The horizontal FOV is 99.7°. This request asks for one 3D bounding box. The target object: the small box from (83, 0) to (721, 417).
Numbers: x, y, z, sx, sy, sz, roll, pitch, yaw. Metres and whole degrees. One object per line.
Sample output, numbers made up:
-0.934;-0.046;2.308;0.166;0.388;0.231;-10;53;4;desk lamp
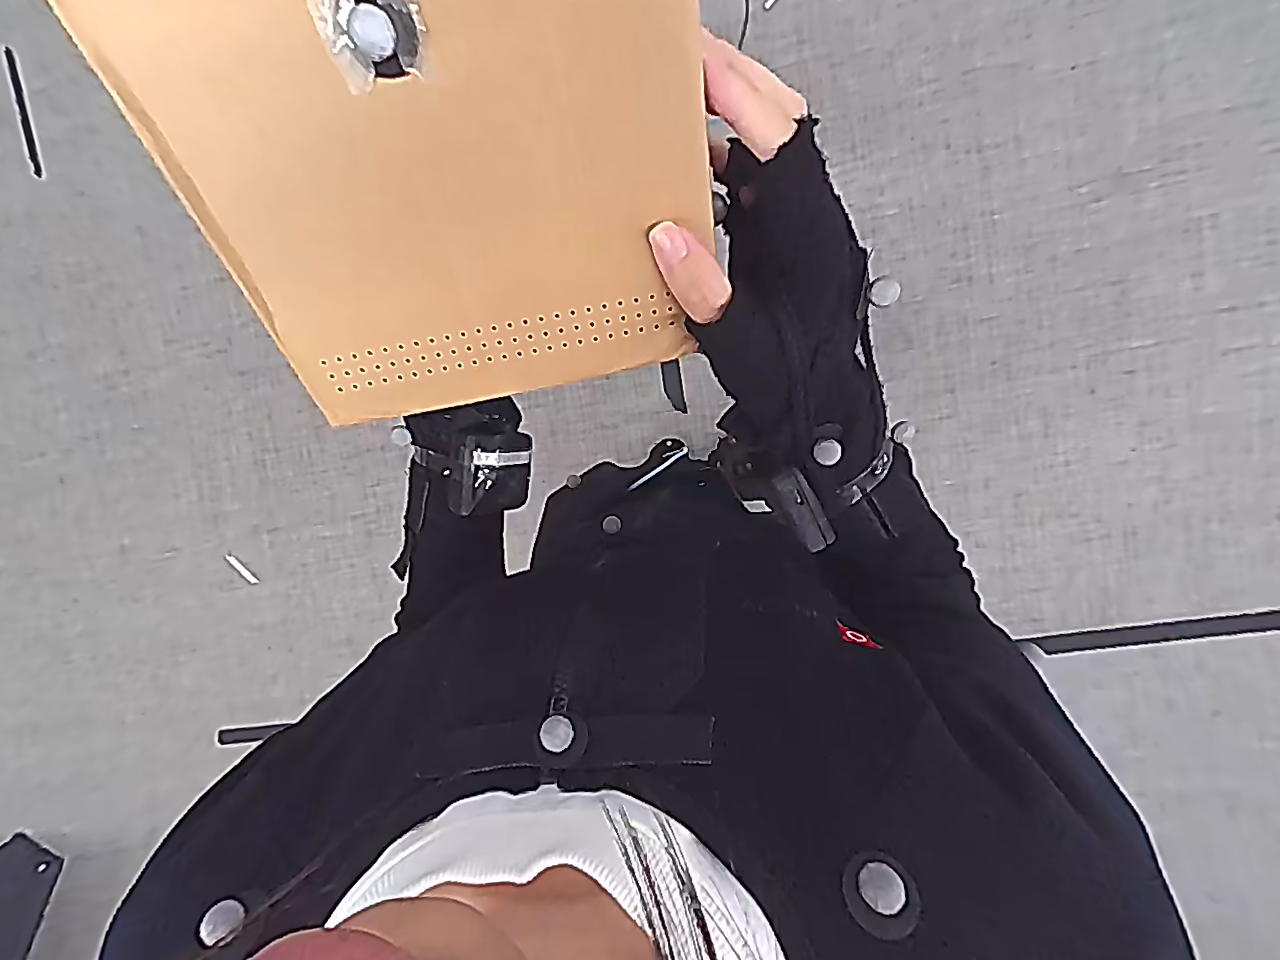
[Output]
-0.067;-0.146;0.247;0.179;0.168;0.176;-10;132;2;small box
